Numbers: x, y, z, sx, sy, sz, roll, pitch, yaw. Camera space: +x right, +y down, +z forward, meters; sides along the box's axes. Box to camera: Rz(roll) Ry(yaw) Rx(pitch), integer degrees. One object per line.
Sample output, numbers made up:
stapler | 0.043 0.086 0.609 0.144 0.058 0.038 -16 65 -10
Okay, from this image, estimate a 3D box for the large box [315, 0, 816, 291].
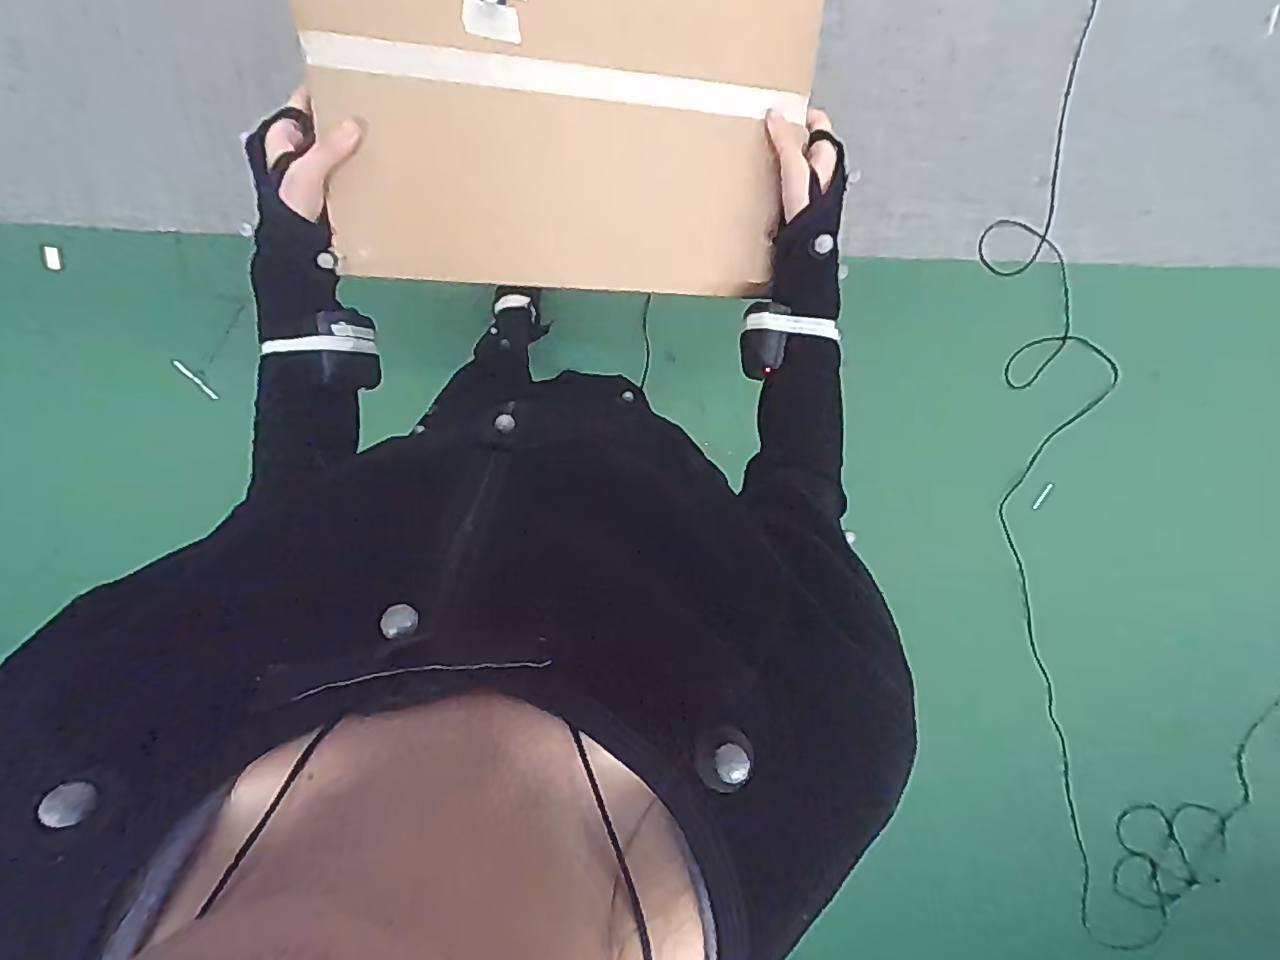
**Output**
large box | -0.076 -0.395 0.586 0.408 0.320 0.320 0 114 -11
